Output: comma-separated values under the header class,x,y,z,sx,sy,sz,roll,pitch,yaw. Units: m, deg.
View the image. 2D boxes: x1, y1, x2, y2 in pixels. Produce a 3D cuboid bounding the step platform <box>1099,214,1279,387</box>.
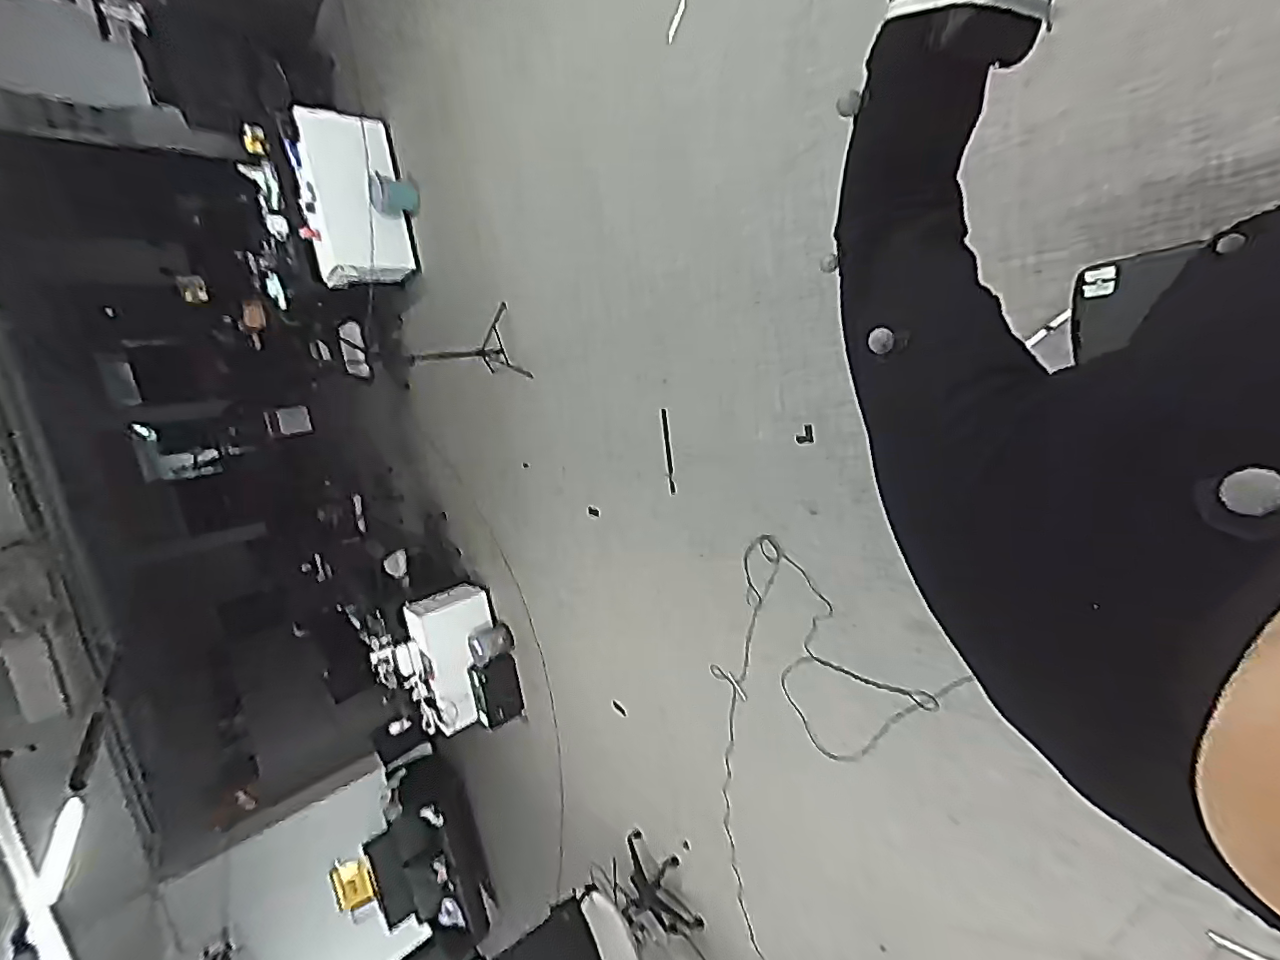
class,x,y,z,sx,sy,sz,roll,pitch,yaw
step platform,1.252,-0.349,0.947,0.684,0.204,0.286,-1,102,49
